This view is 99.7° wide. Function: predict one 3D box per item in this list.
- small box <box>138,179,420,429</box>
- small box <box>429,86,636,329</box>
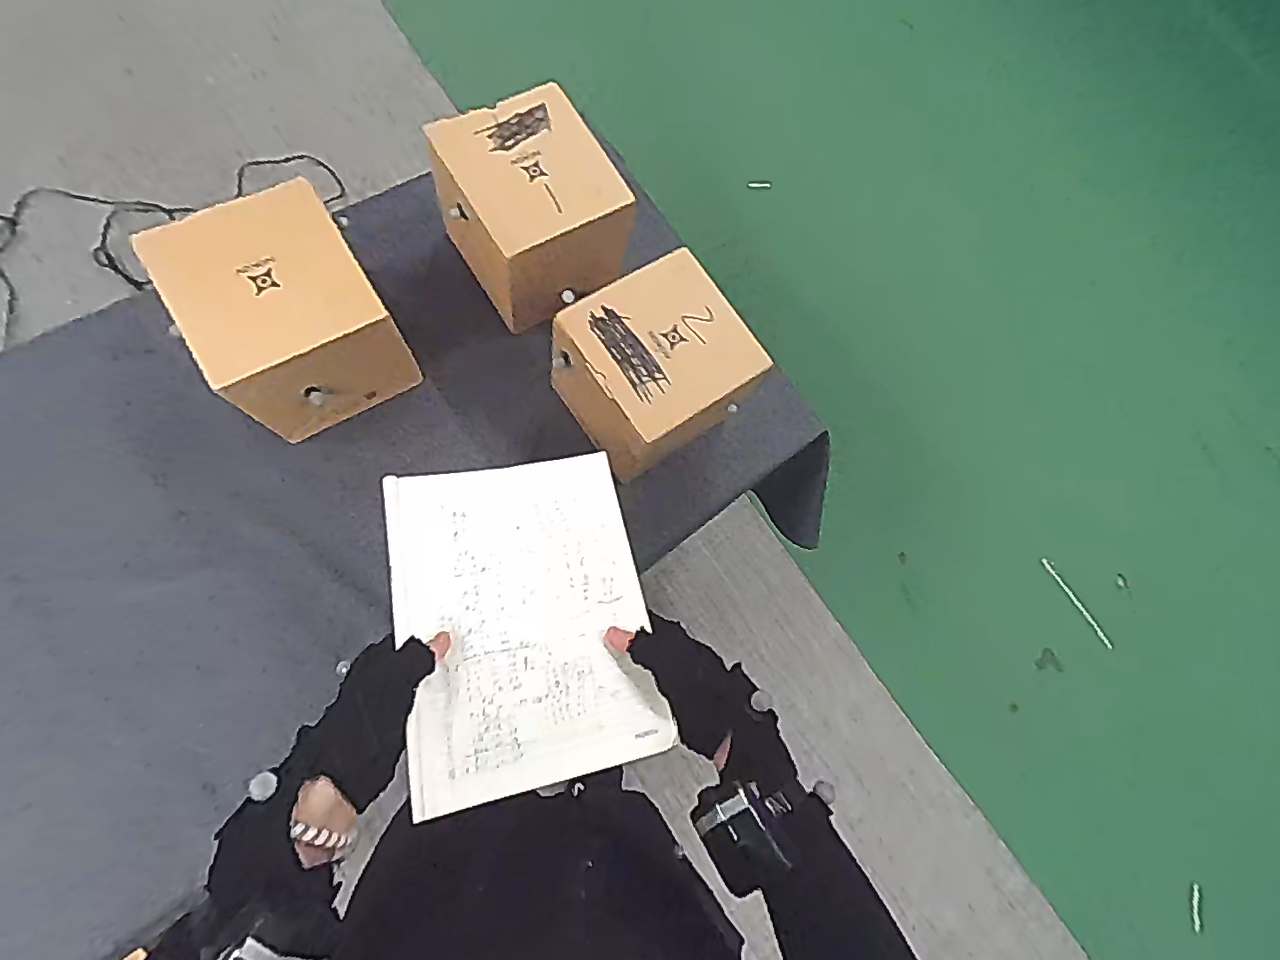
[{"bbox_3d":[-0.366,-0.173,0.589,0.168,0.176,0.179,-31,84,-16],"label":"small box"},{"bbox_3d":[-0.130,-0.323,0.665,0.168,0.176,0.179,-31,84,-15],"label":"small box"}]
